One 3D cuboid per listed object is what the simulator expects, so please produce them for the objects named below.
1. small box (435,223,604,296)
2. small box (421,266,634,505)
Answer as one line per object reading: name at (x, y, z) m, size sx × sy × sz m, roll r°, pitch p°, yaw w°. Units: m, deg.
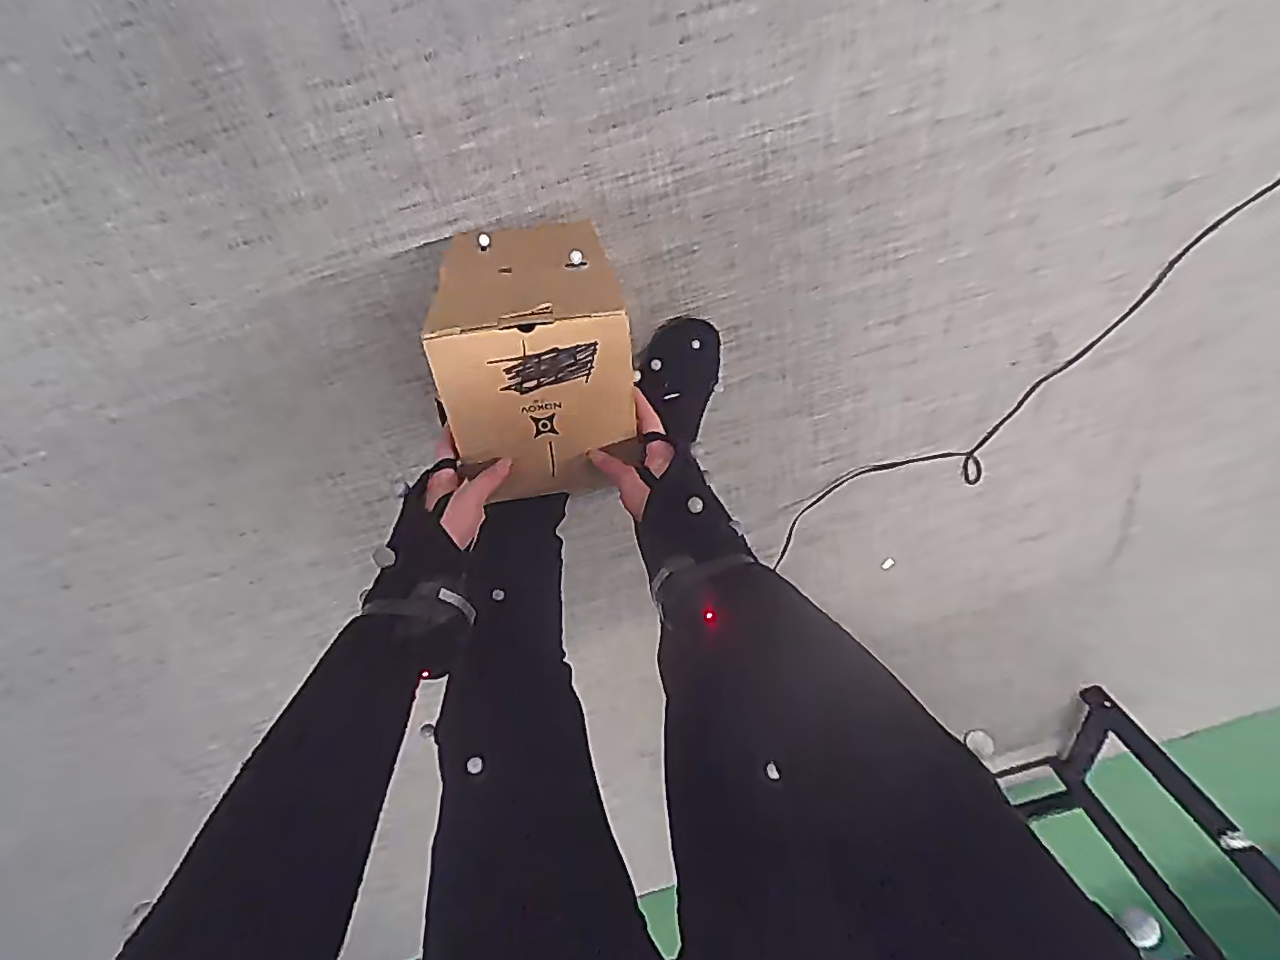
small box at (-0.133, -0.206, 0.668) m, size 0.179 × 0.176 × 0.168 m, roll -10°, pitch 128°, yaw -6°
small box at (-0.103, -0.103, 0.542) m, size 0.168 × 0.176 × 0.179 m, roll -8°, pitch 128°, yaw -5°
